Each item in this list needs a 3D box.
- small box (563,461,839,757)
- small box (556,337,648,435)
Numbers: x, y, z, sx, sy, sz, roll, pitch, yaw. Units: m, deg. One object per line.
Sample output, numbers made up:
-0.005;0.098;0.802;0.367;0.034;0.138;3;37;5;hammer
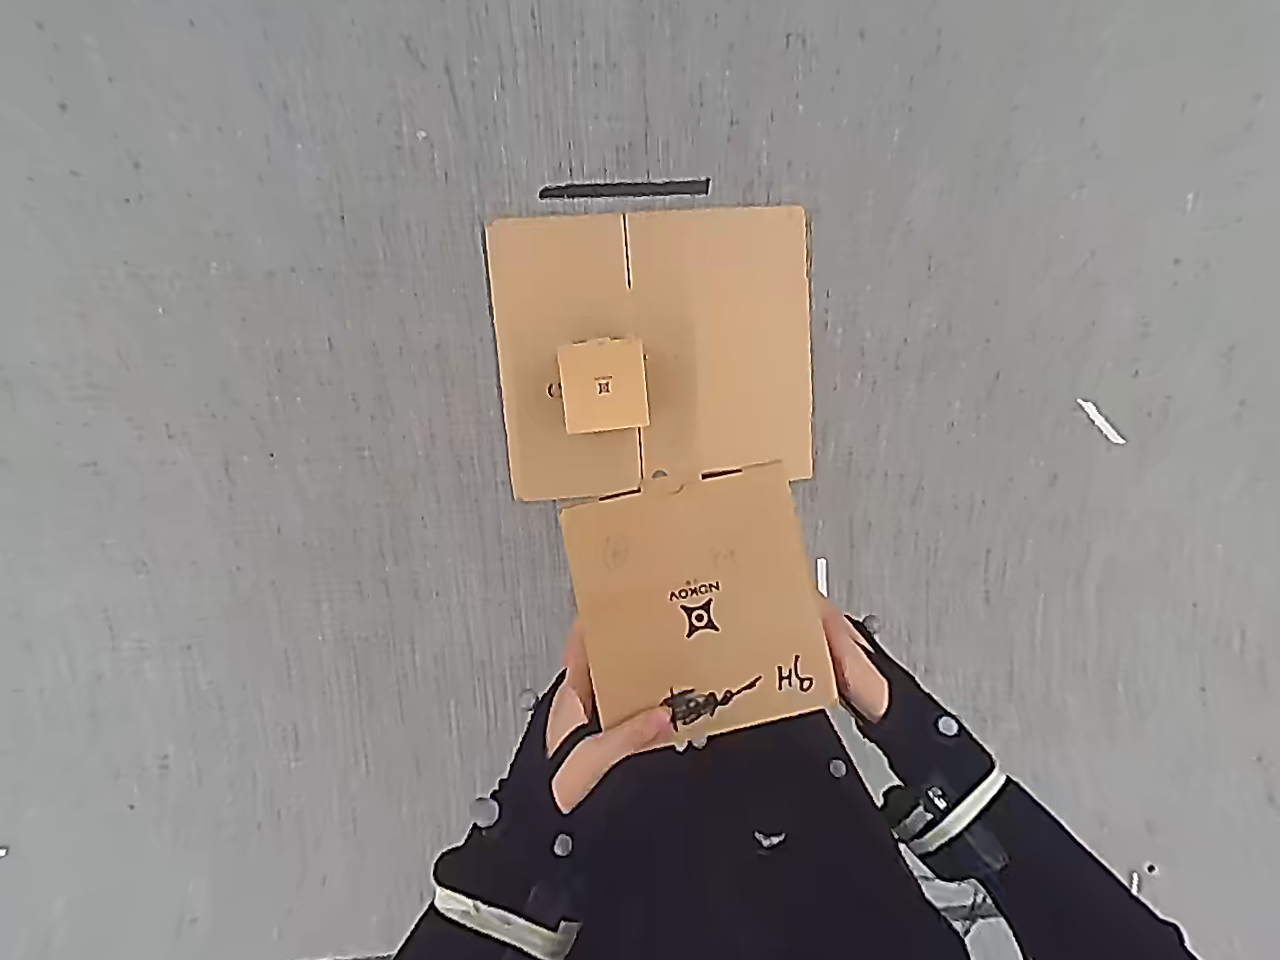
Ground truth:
0.037;0.095;0.453;0.168;0.176;0.179;-12;85;-3;small box
-0.076;-0.192;1.117;0.168;0.176;0.179;-7;98;-3;small box
